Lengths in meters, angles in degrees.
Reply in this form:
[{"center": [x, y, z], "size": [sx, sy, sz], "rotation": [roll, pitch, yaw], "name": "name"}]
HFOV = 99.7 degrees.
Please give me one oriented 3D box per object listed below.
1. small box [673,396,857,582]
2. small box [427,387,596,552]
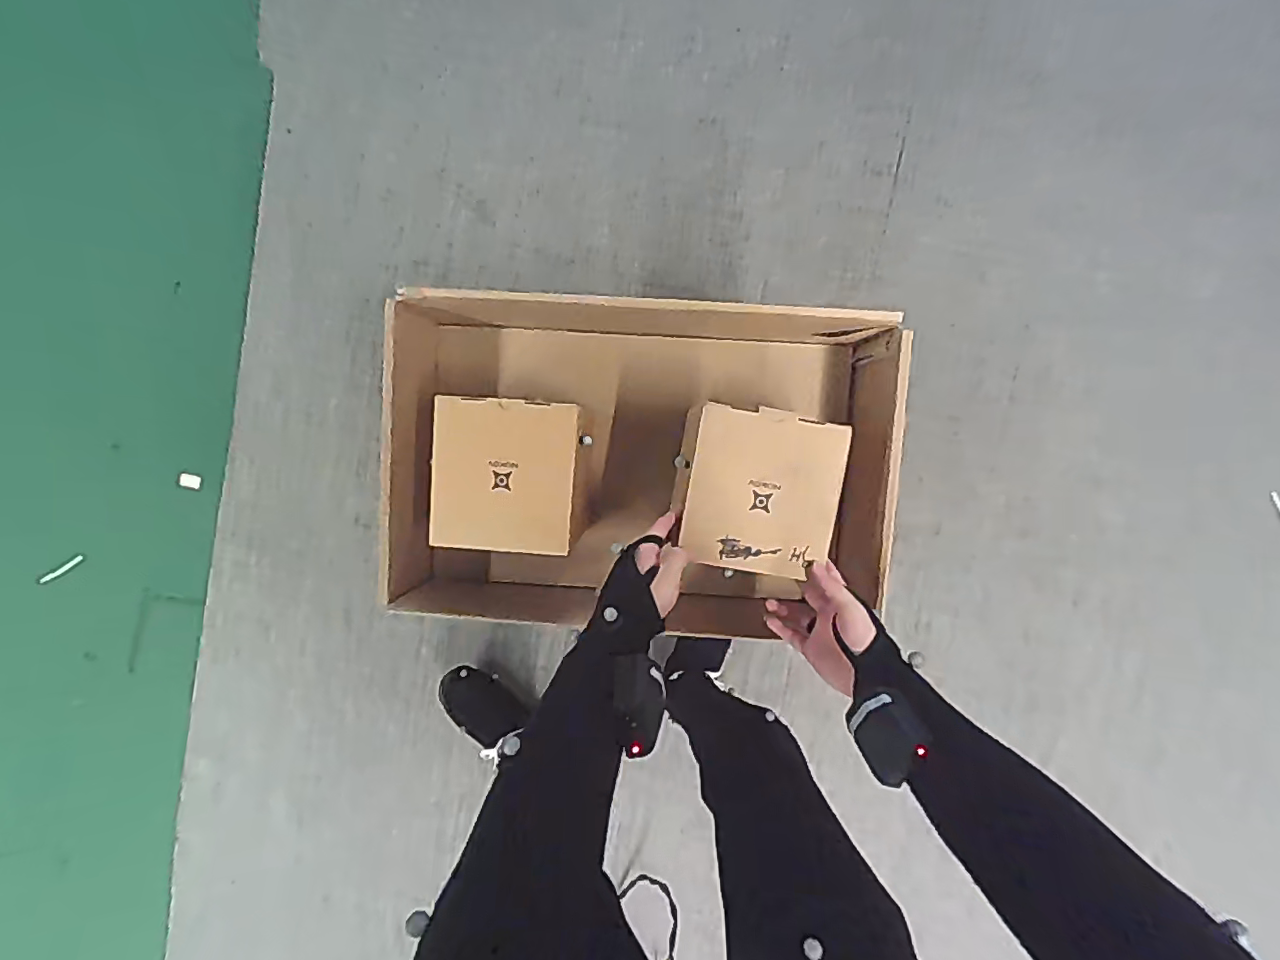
[{"center": [0.135, 0.006, 0.653], "size": [0.168, 0.176, 0.179], "rotation": [10, 93, 0], "name": "small box"}, {"center": [-0.151, -0.017, 0.686], "size": [0.168, 0.176, 0.179], "rotation": [5, 93, 2], "name": "small box"}]
